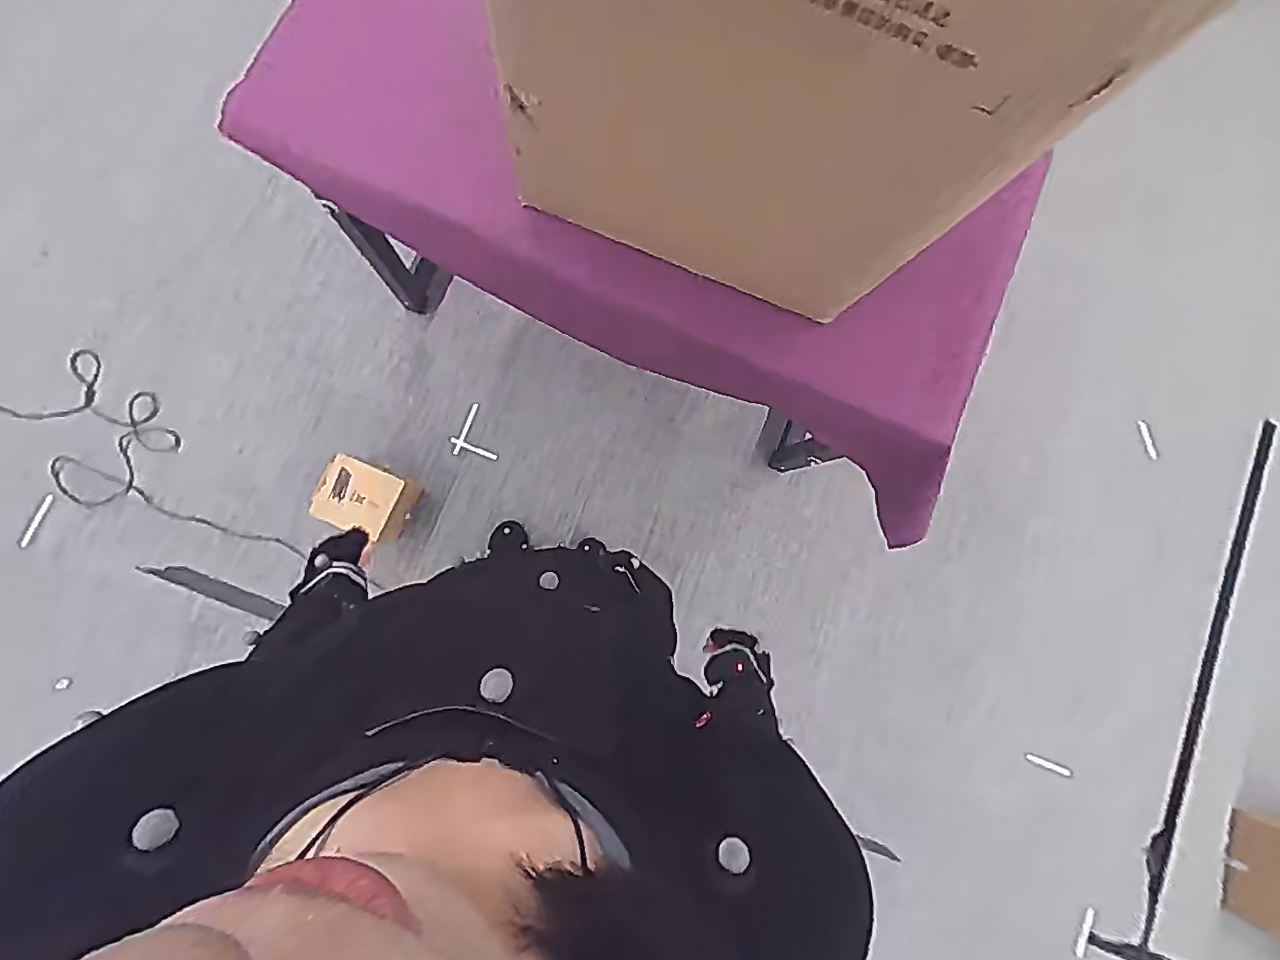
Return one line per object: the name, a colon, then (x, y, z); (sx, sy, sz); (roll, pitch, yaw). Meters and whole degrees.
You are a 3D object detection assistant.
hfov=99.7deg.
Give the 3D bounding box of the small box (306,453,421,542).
small box: (-0.692, 0.050, 1.376); (0.179, 0.176, 0.168); (25, 83, -4)
